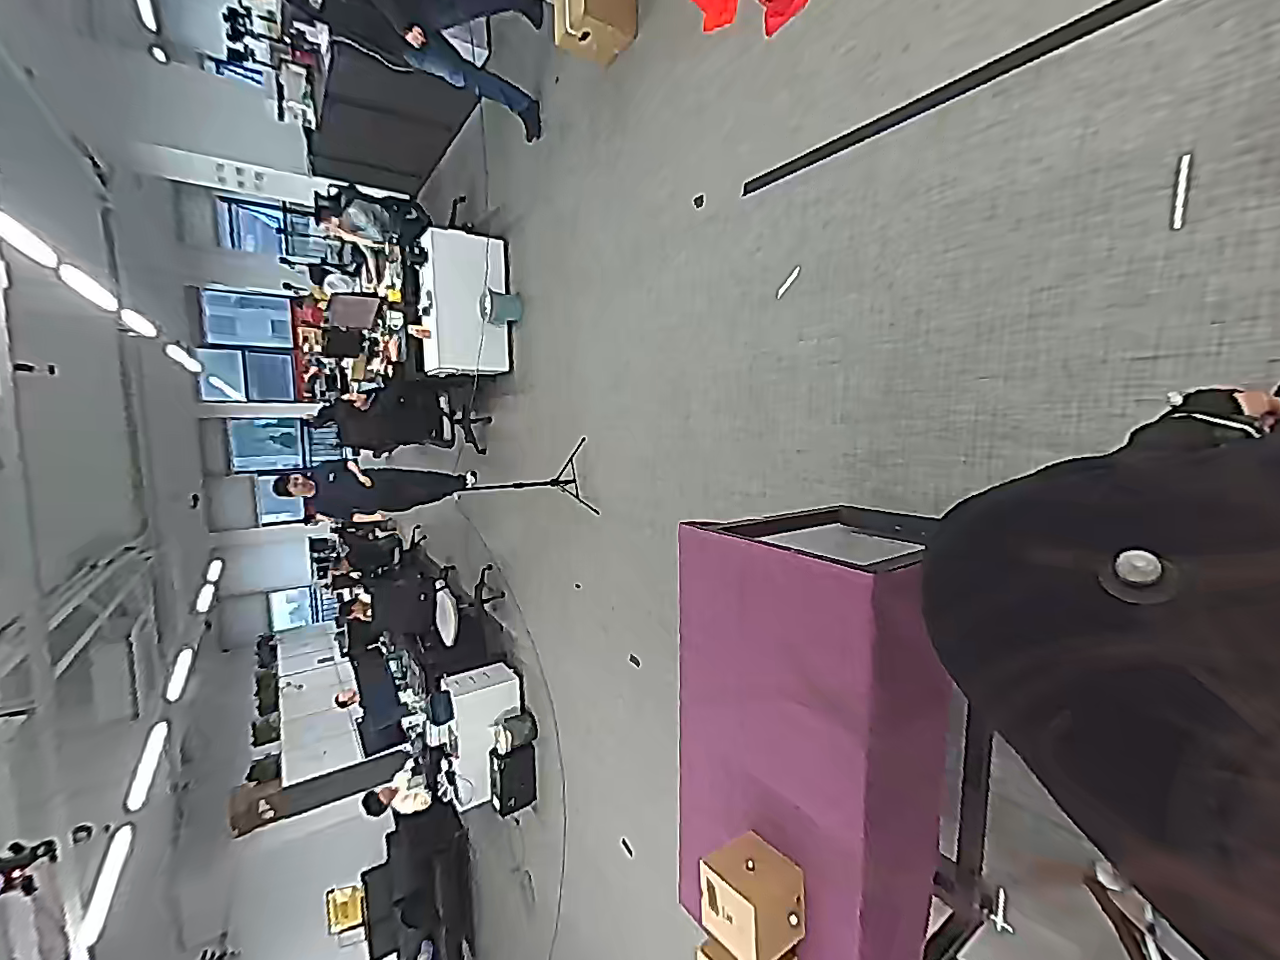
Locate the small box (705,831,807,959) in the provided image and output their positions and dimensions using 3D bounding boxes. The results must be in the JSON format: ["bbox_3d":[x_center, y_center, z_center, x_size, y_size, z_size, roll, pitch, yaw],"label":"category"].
[{"bbox_3d":[0.276,0.982,1.290,0.179,0.176,0.168,3,97,55],"label":"small box"}]
